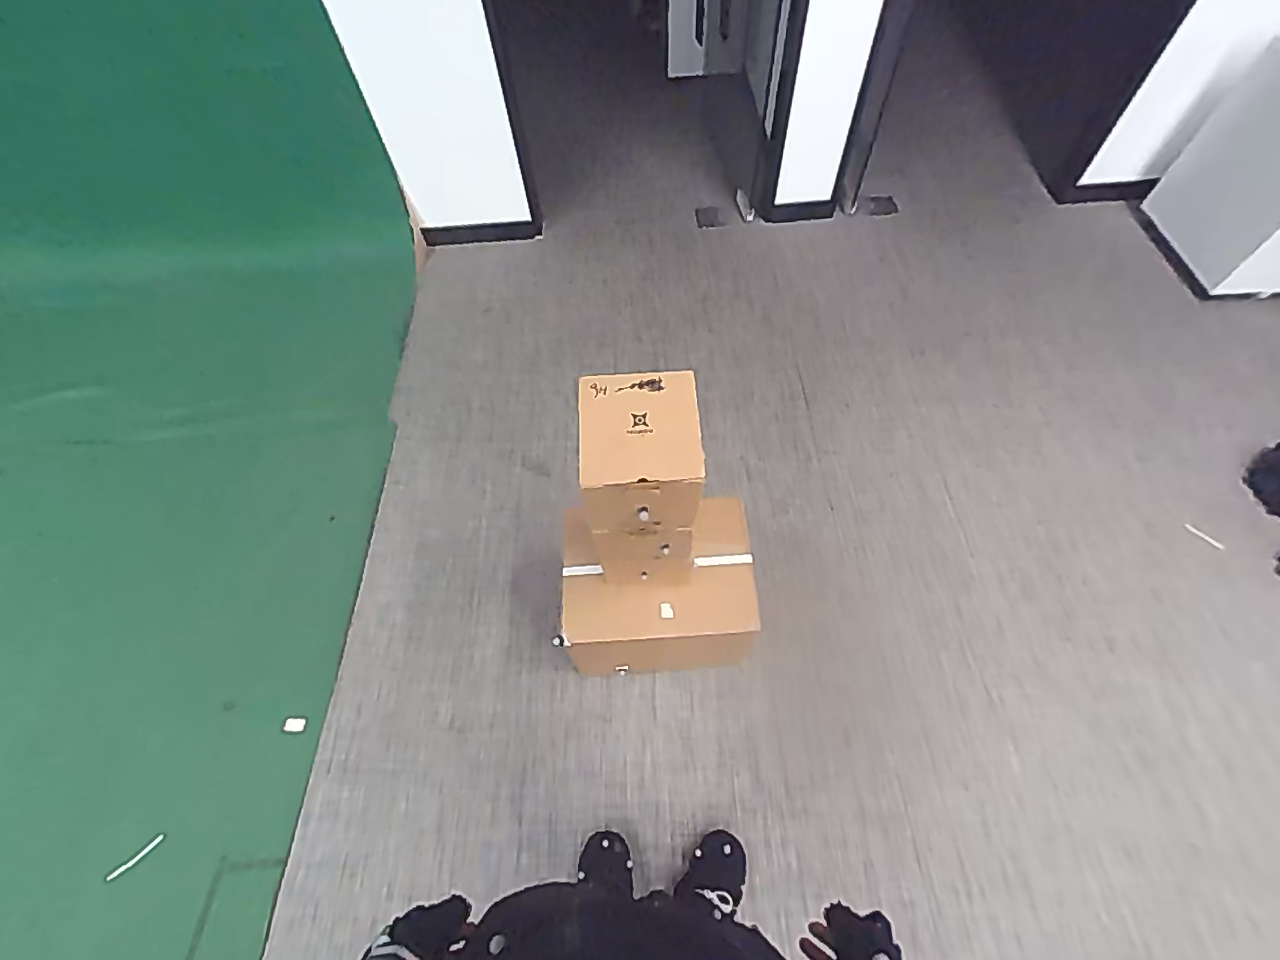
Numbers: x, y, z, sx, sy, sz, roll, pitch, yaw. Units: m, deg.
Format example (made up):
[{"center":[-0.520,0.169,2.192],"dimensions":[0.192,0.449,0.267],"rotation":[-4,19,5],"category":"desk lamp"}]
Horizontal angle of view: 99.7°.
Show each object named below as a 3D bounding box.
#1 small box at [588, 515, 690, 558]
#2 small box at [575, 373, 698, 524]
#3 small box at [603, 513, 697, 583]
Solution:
[{"center":[0.000,0.035,0.958],"dimensions":[0.168,0.176,0.179],"rotation":[-3,64,0],"category":"small box"},{"center":[-0.004,-0.038,0.811],"dimensions":[0.168,0.176,0.179],"rotation":[-3,66,0],"category":"small box"},{"center":[0.017,0.108,1.101],"dimensions":[0.179,0.176,0.168],"rotation":[-3,65,0],"category":"small box"}]
